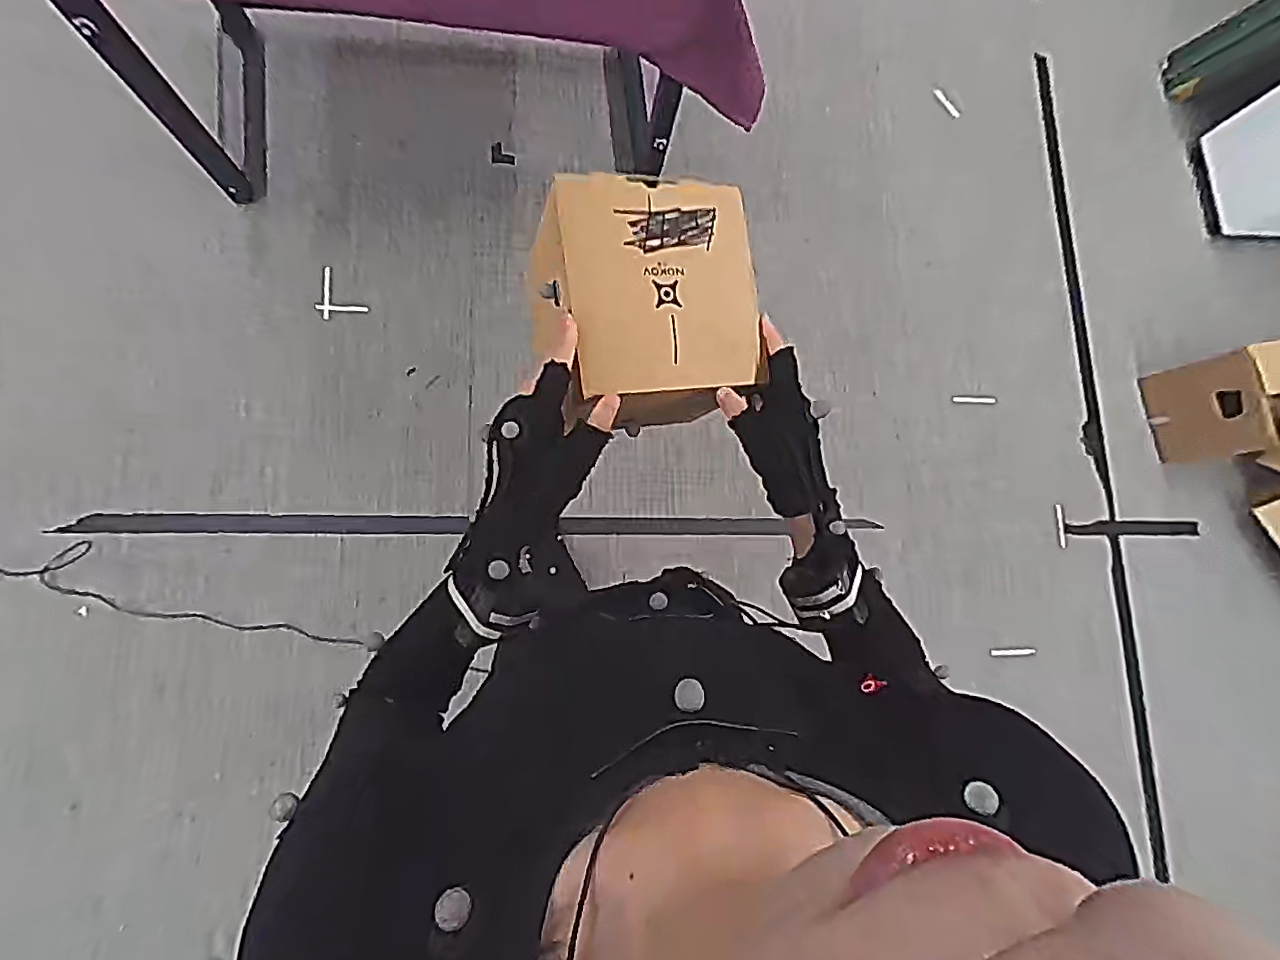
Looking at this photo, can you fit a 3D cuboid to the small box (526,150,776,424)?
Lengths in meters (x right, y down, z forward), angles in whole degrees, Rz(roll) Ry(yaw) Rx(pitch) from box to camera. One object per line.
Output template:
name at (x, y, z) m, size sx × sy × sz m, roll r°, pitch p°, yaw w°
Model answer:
small box at (-0.003, -0.157, 0.492) m, size 0.168 × 0.176 × 0.179 m, roll -8°, pitch 87°, yaw -20°
